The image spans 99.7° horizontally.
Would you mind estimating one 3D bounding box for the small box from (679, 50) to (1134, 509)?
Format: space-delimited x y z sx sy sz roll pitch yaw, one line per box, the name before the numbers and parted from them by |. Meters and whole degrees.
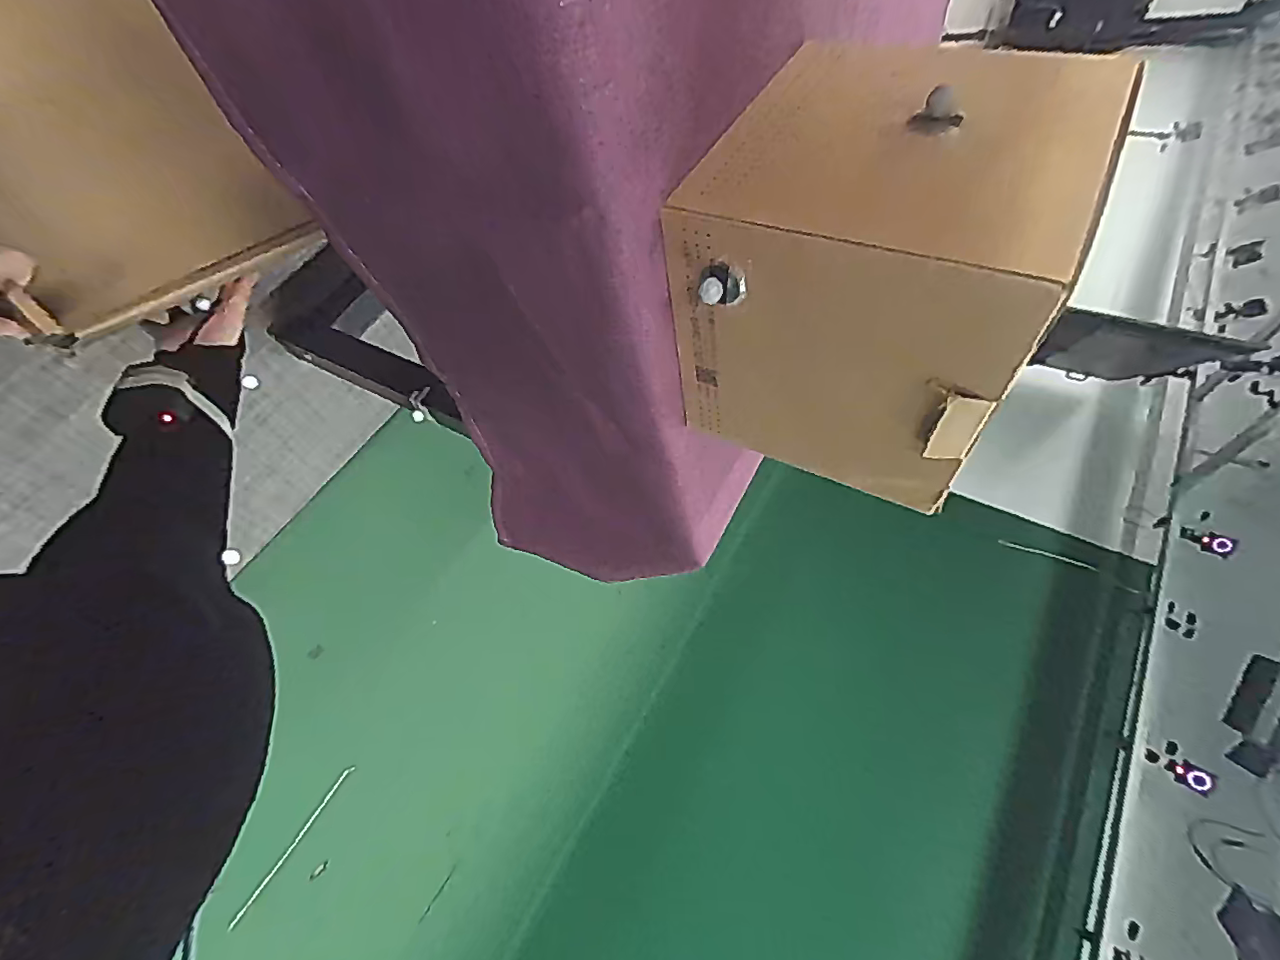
small box | 0.131 -0.118 0.319 0.179 0.176 0.168 -56 156 -23
